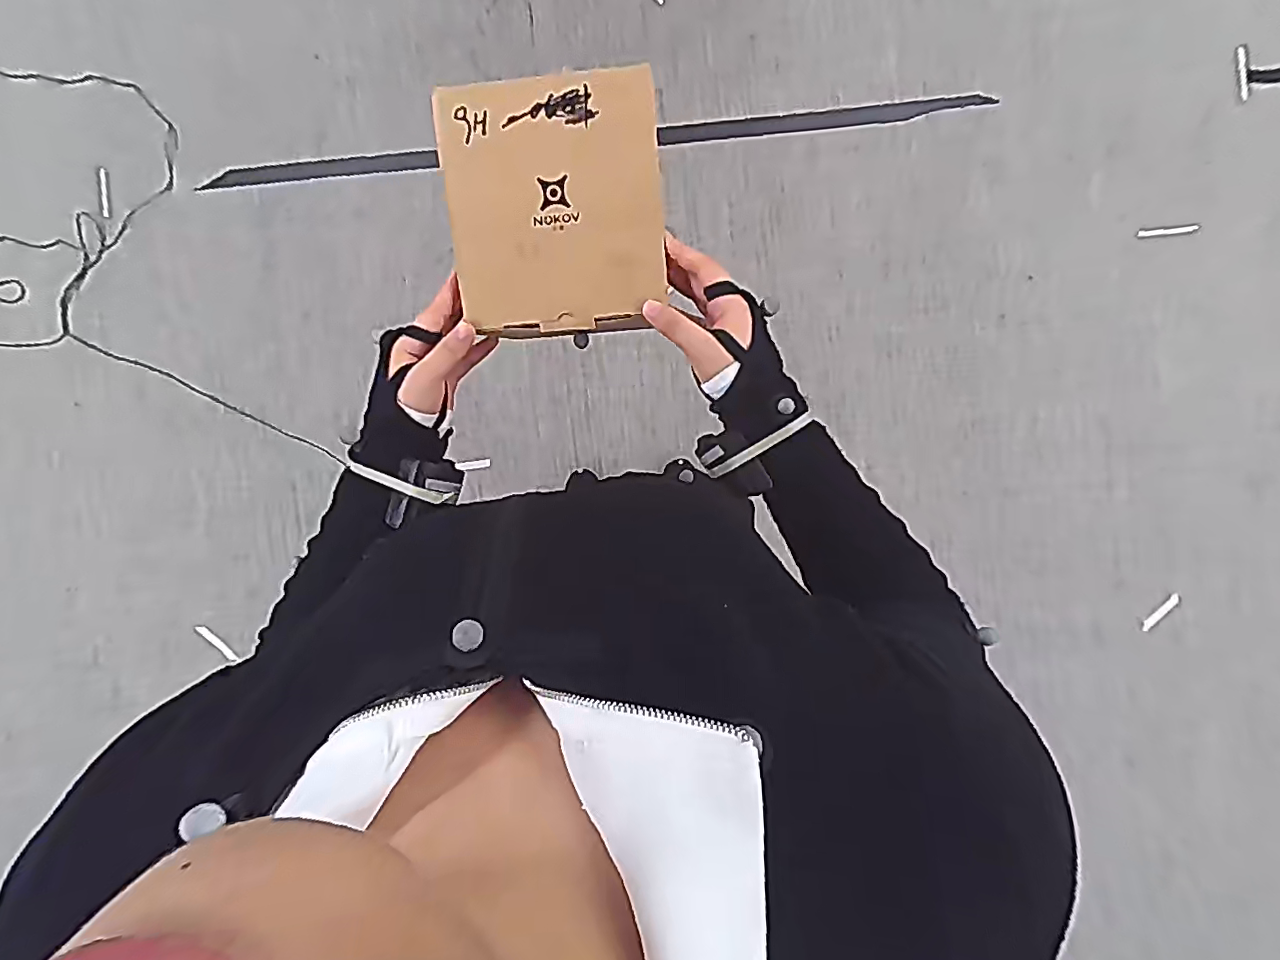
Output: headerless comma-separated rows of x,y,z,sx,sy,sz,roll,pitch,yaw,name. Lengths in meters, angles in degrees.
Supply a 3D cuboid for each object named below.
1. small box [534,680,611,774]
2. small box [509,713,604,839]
-0.160,0.611,1.330,0.168,0.176,0.179,-1,90,2,small box
-0.172,0.630,1.165,0.168,0.176,0.179,-6,91,2,small box
